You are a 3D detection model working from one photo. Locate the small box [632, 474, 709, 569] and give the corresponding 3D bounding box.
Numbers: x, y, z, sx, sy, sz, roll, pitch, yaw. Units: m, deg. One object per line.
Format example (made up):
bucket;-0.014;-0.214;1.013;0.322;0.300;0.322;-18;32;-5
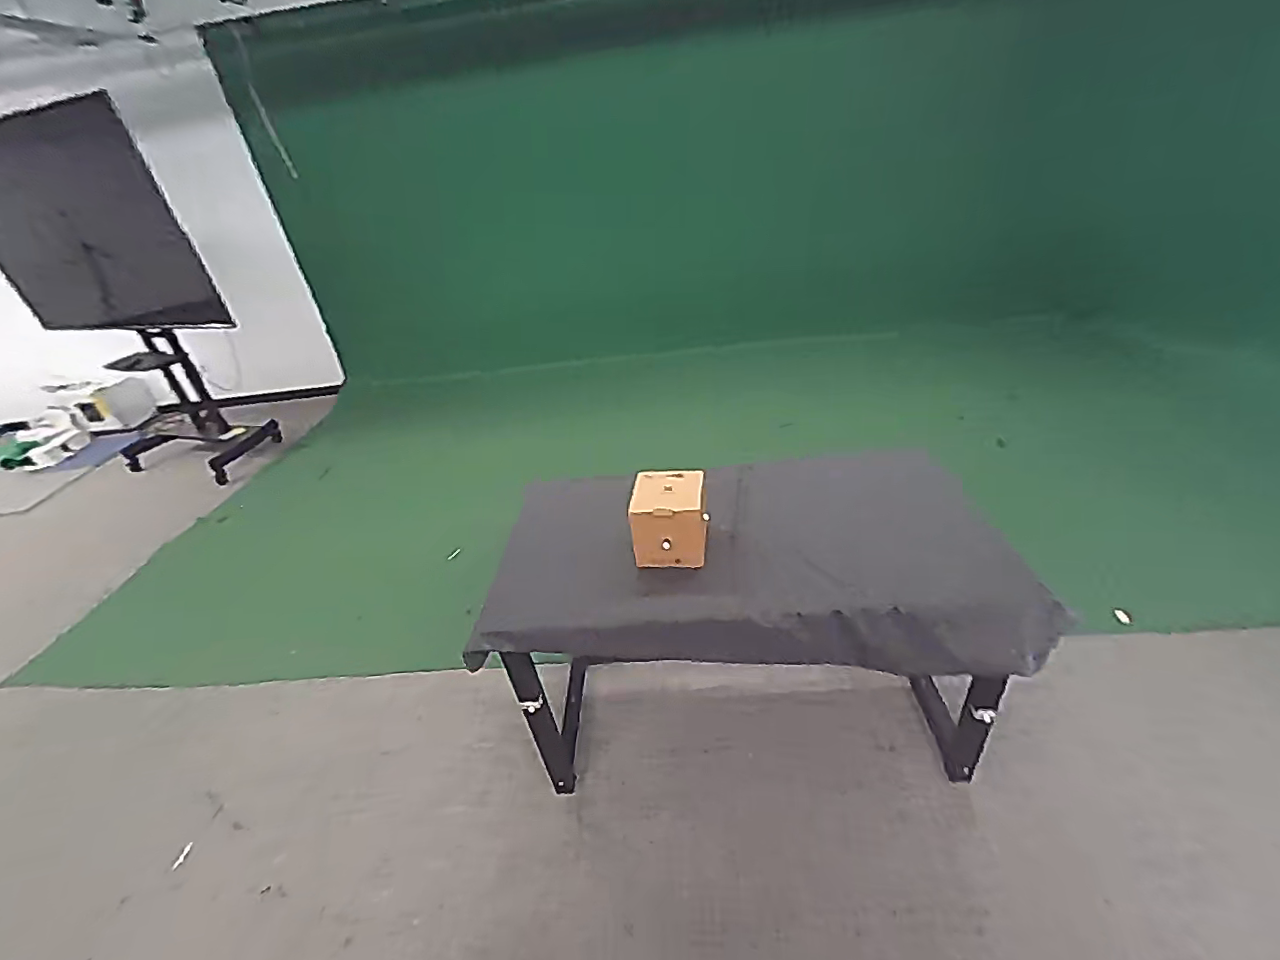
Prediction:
small box;0.082;0.107;1.332;0.168;0.176;0.179;-4;32;9
